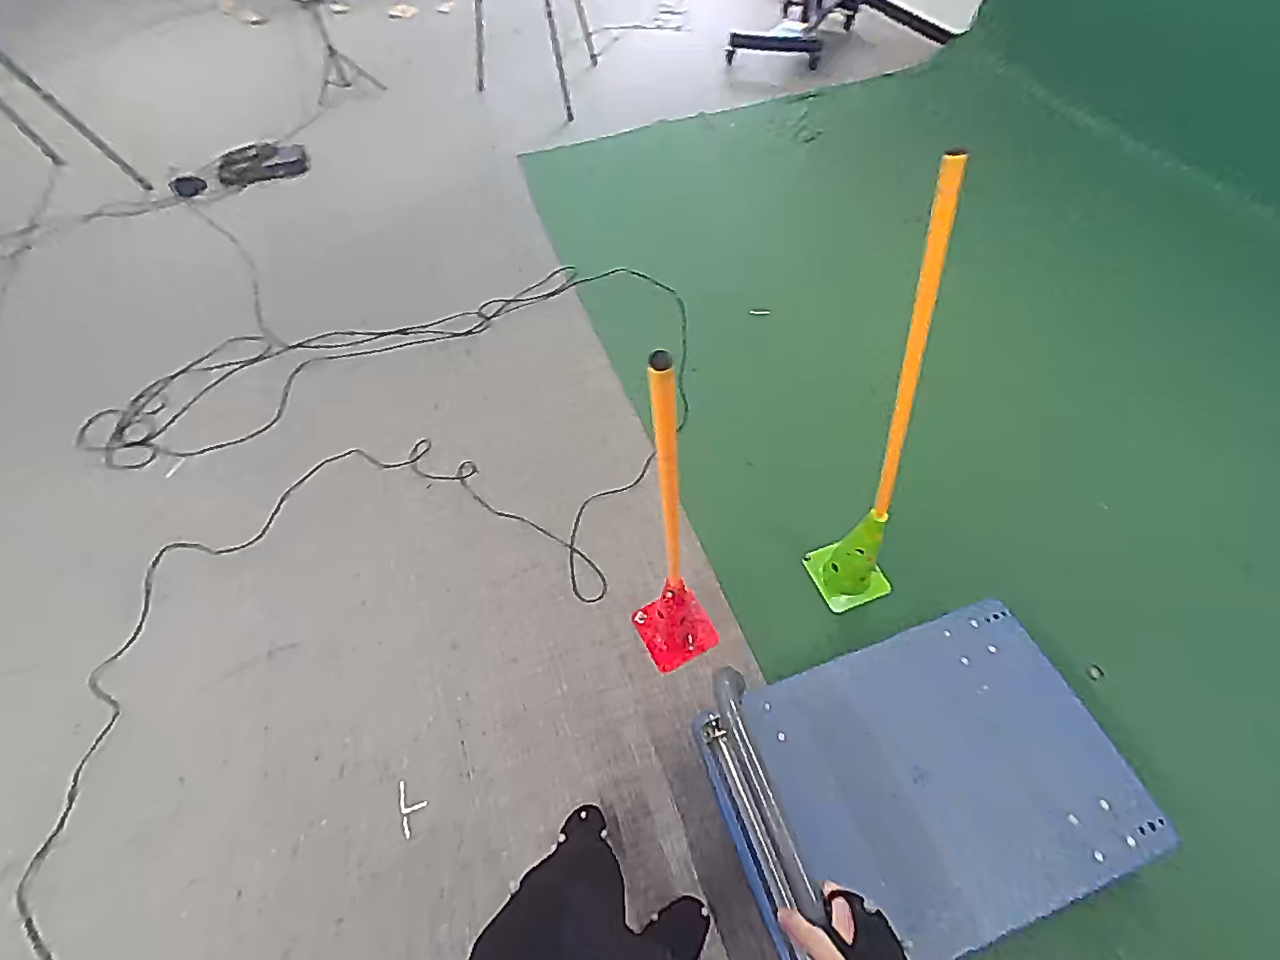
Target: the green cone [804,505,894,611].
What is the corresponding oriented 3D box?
[{"bbox_3d":[0.612,0.184,1.480,0.202,0.368,0.200,-18,57,-9],"label":"green cone"}]
